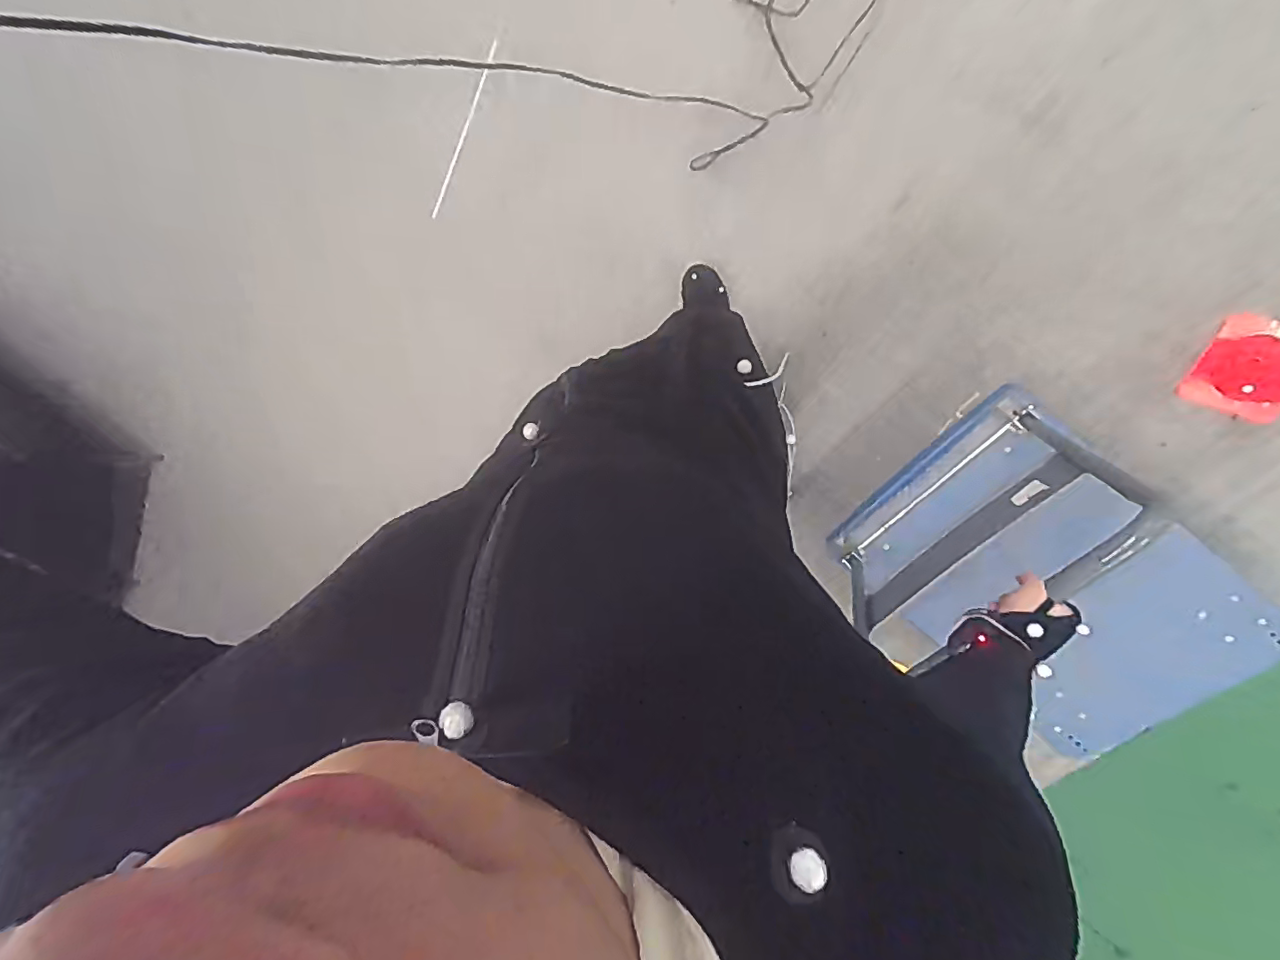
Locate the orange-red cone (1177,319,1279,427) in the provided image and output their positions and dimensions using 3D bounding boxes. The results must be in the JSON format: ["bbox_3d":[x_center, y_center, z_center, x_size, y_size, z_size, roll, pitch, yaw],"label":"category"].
[{"bbox_3d":[1.289,-0.177,1.030,0.198,0.360,0.199,23,113,7],"label":"orange-red cone"}]
